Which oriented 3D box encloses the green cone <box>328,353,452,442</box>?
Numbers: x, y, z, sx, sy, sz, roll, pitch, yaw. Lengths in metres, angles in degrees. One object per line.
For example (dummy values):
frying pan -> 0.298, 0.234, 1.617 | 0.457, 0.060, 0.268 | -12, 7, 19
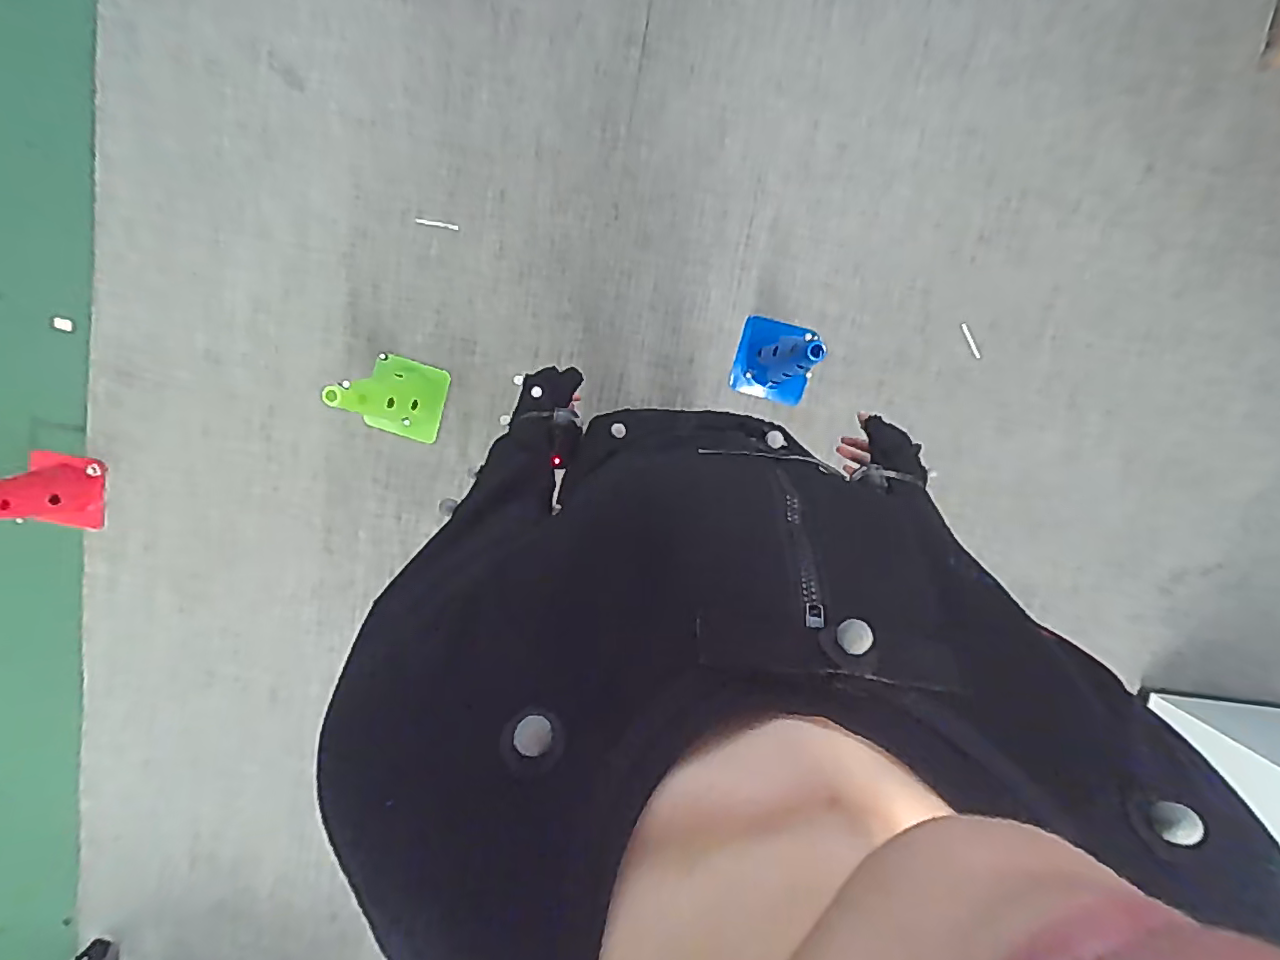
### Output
green cone -> -0.618, -0.197, 1.271 | 0.202, 0.368, 0.200 | 16, 97, -2
